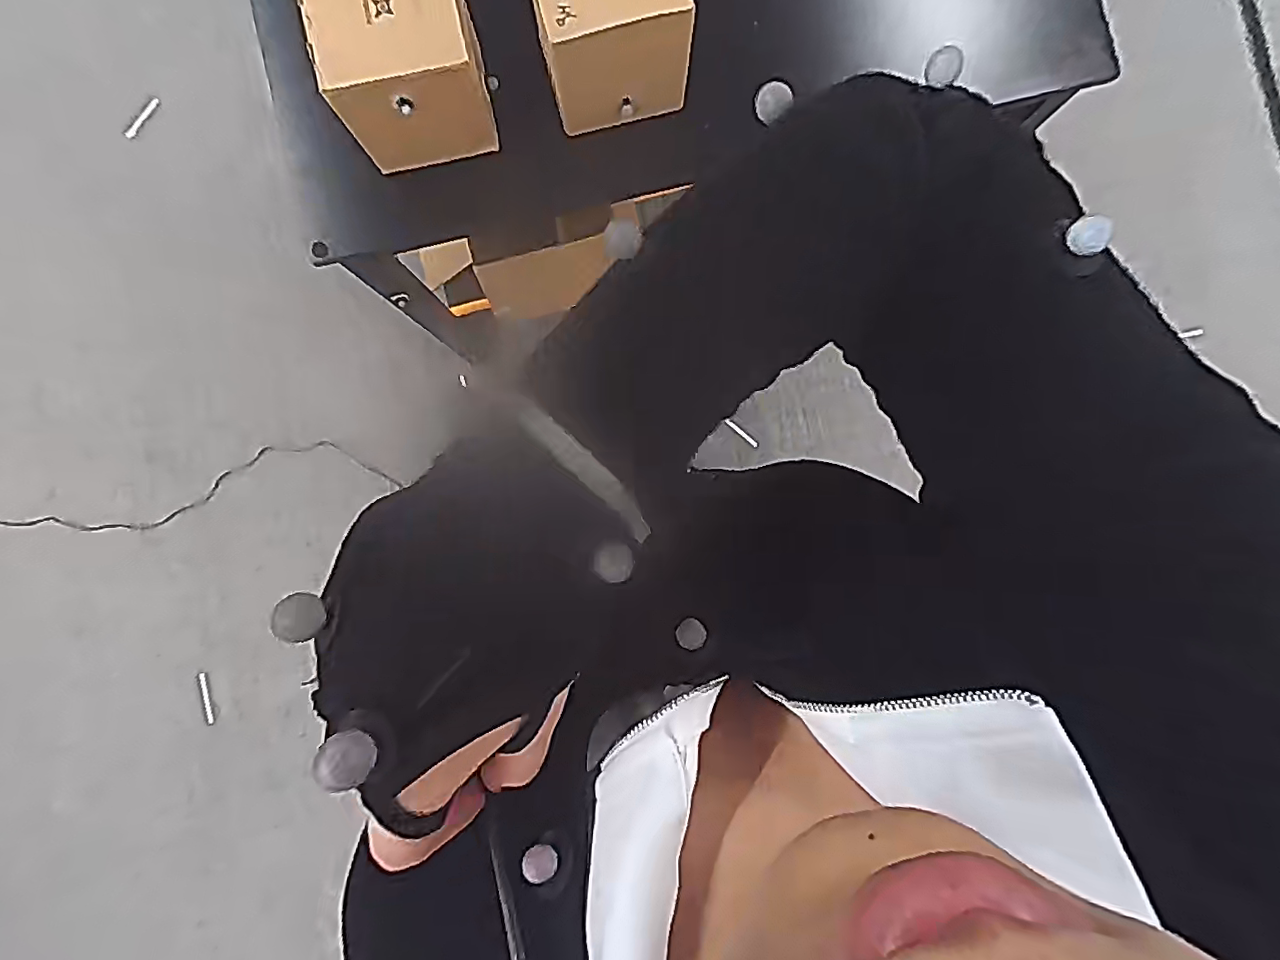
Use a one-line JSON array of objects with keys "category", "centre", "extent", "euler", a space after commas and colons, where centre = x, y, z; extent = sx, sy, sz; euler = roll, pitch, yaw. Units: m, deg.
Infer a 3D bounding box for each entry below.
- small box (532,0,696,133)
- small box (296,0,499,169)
[{"category": "small box", "centre": [-0.042, -0.592, 0.696], "extent": [0.179, 0.176, 0.168], "euler": [-15, 89, -2]}, {"category": "small box", "centre": [-0.298, -0.533, 0.691], "extent": [0.179, 0.176, 0.168], "euler": [-13, 90, -2]}]
